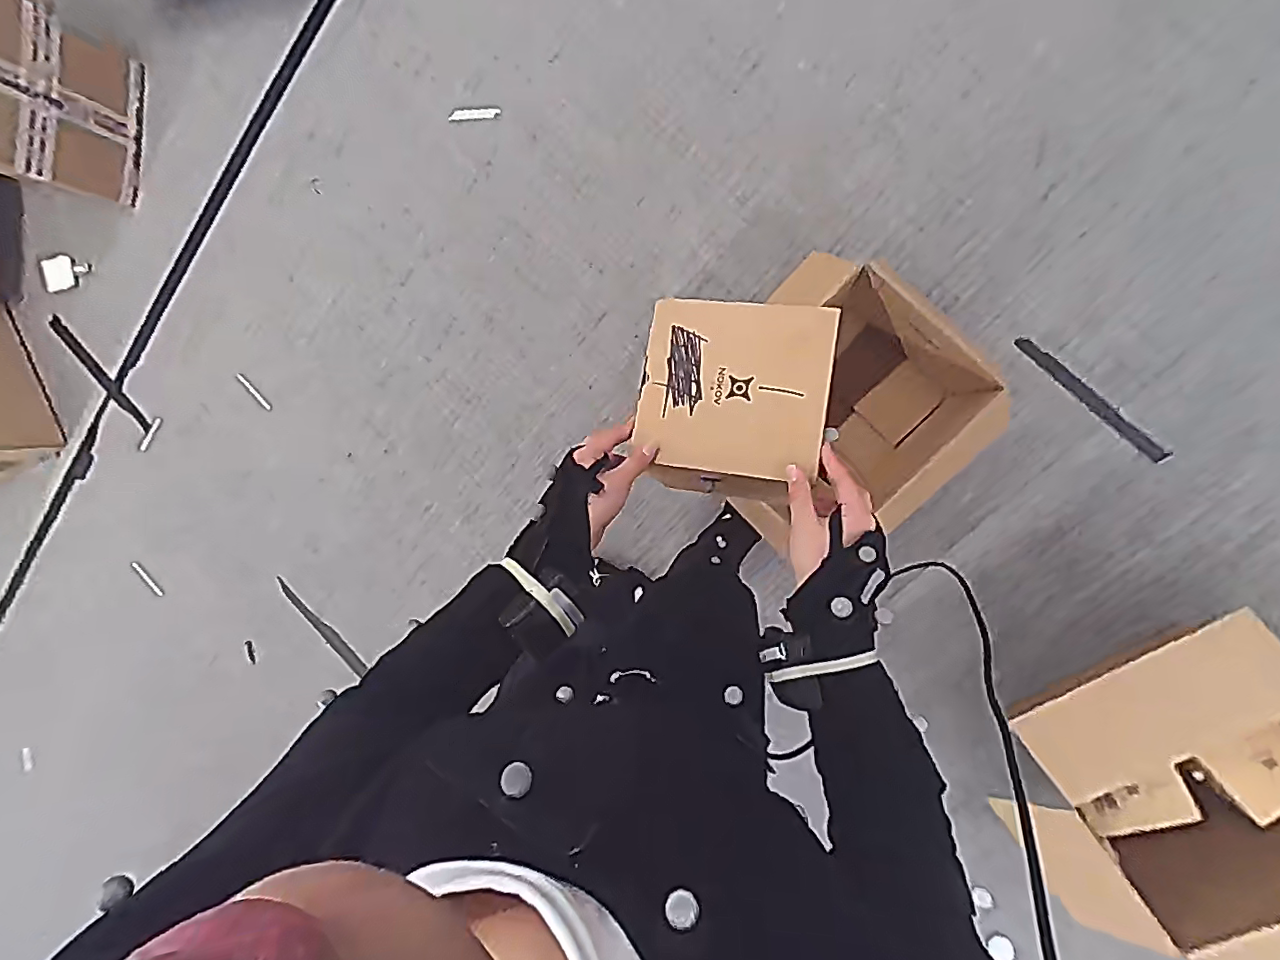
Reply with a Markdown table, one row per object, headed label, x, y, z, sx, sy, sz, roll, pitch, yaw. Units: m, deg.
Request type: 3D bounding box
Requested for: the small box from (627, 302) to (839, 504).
| label | x | y | z | sx | sy | sz | roll | pitch | yaw |
| --- | --- | --- | --- | --- | --- | --- | --- | --- | --- |
| small box | 0.103 | -0.072 | 0.574 | 0.179 | 0.176 | 0.168 | 8 | 83 | 16 |
